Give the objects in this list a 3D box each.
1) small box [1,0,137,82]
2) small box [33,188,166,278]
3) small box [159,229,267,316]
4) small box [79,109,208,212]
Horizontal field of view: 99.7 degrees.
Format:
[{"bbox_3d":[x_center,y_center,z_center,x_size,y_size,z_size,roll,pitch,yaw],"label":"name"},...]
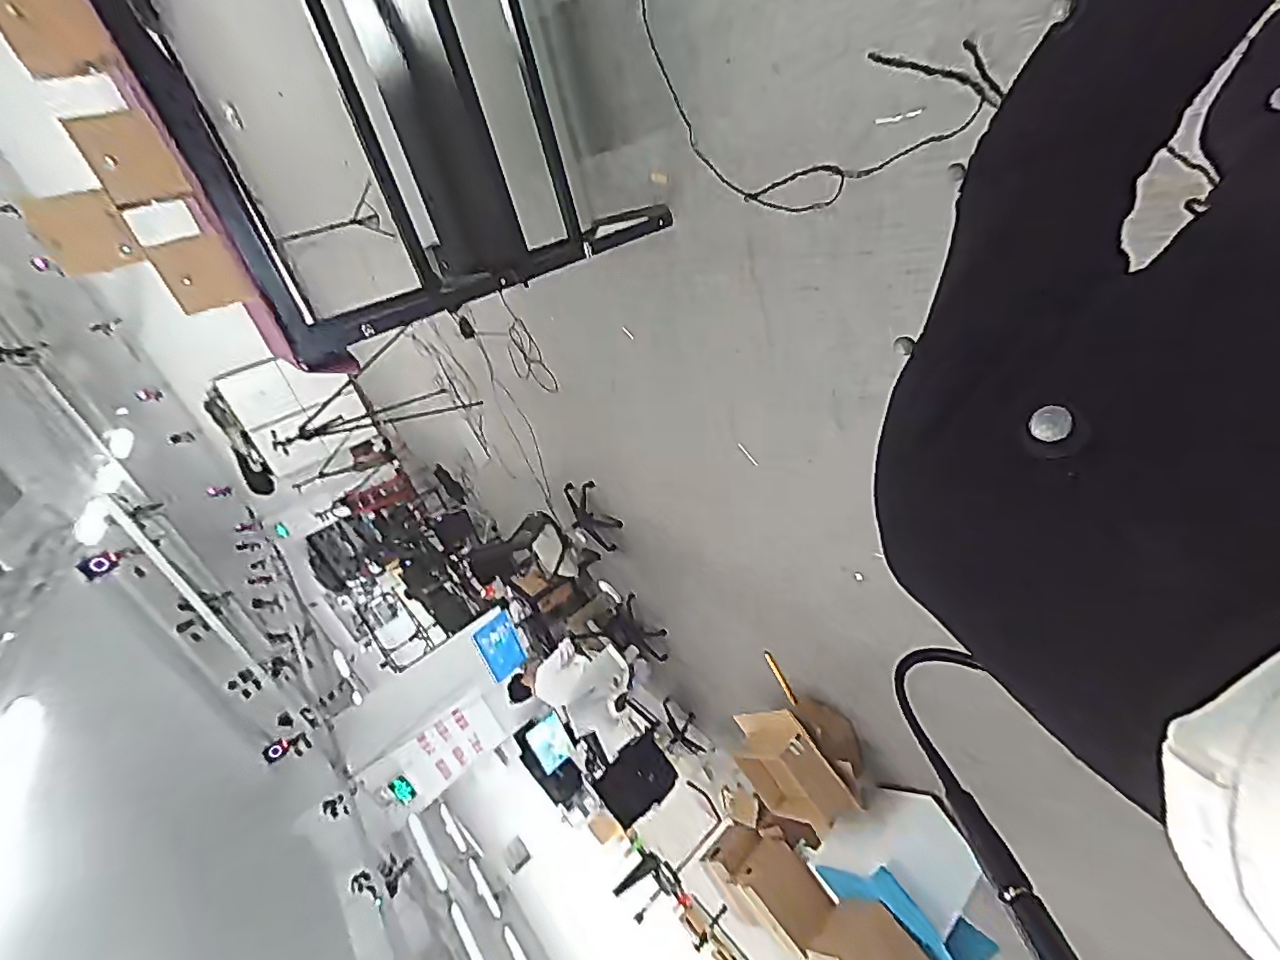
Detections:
[{"bbox_3d":[-1.274,-1.018,1.199,0.168,0.176,0.179,23,139,49],"label":"small box"},{"bbox_3d":[-1.307,-0.603,1.325,0.179,0.176,0.168,25,137,47],"label":"small box"},{"bbox_3d":[-1.147,-0.558,1.465,0.168,0.176,0.179,19,134,49],"label":"small box"},{"bbox_3d":[-1.204,-0.783,1.330,0.168,0.176,0.179,22,136,48],"label":"small box"}]
